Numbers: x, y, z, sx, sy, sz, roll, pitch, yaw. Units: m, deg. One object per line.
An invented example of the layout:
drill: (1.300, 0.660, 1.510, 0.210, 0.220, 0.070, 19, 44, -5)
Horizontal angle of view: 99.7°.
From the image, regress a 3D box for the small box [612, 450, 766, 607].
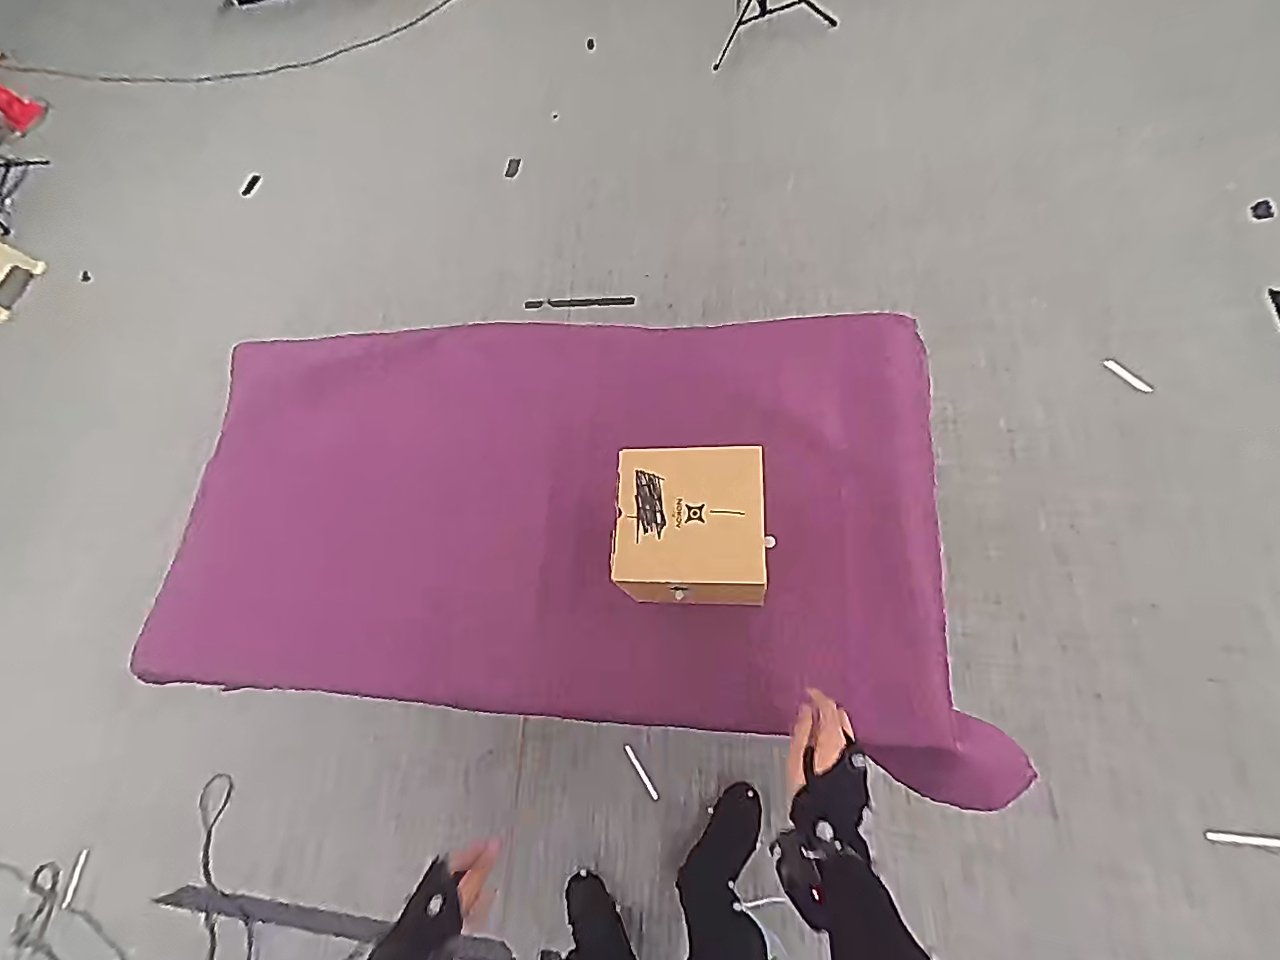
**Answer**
small box: (0.072, 0.070, 0.702, 0.179, 0.176, 0.168, 0, 69, 11)
